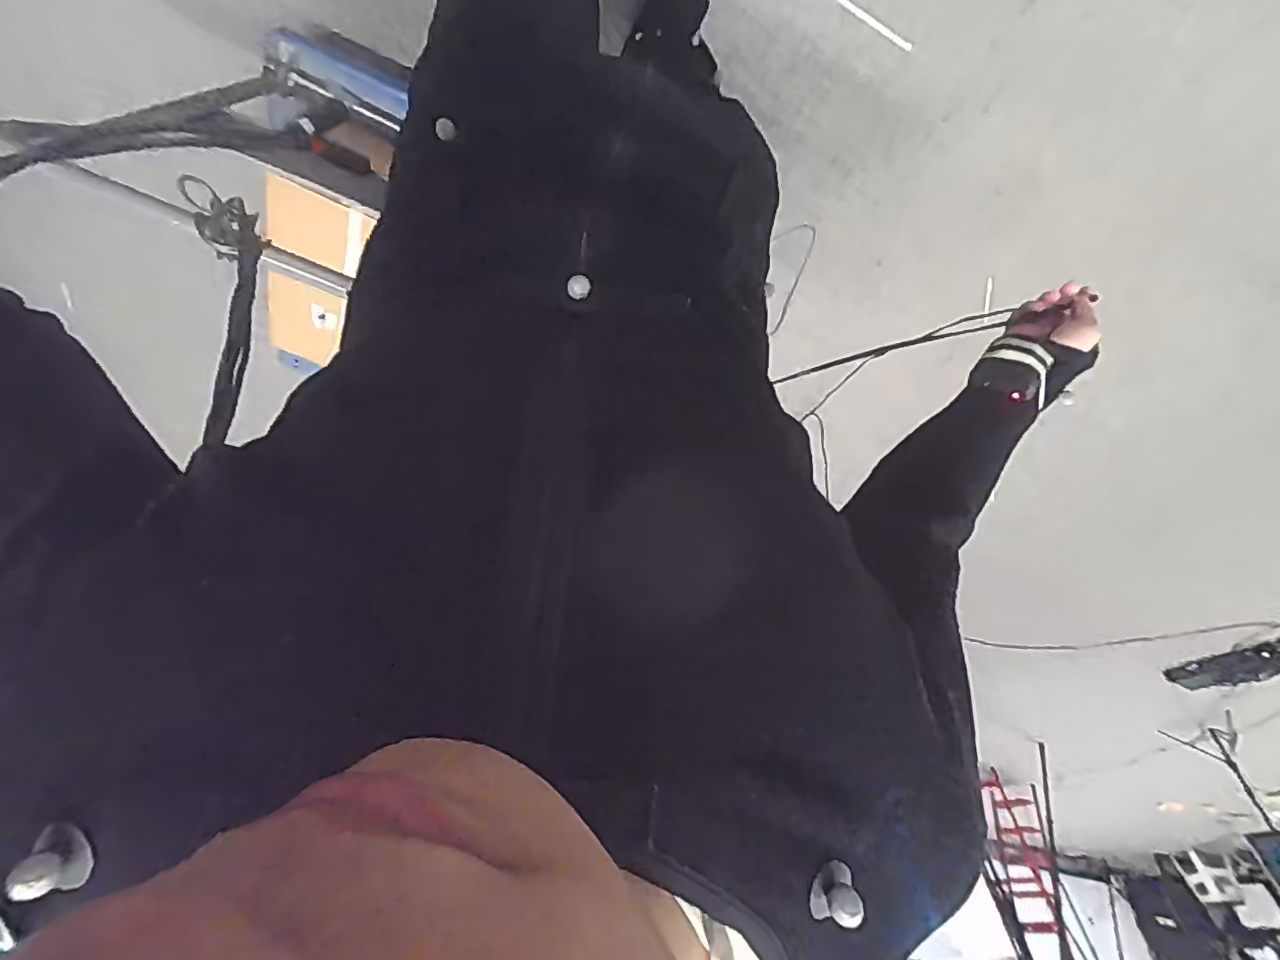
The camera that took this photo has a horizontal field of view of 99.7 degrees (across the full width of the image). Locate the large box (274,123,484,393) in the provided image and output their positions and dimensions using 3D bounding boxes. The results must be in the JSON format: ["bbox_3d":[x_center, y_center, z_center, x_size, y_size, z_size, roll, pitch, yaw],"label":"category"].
[{"bbox_3d":[-0.575,-0.482,1.210,0.320,0.320,0.408,21,134,-17],"label":"large box"}]
